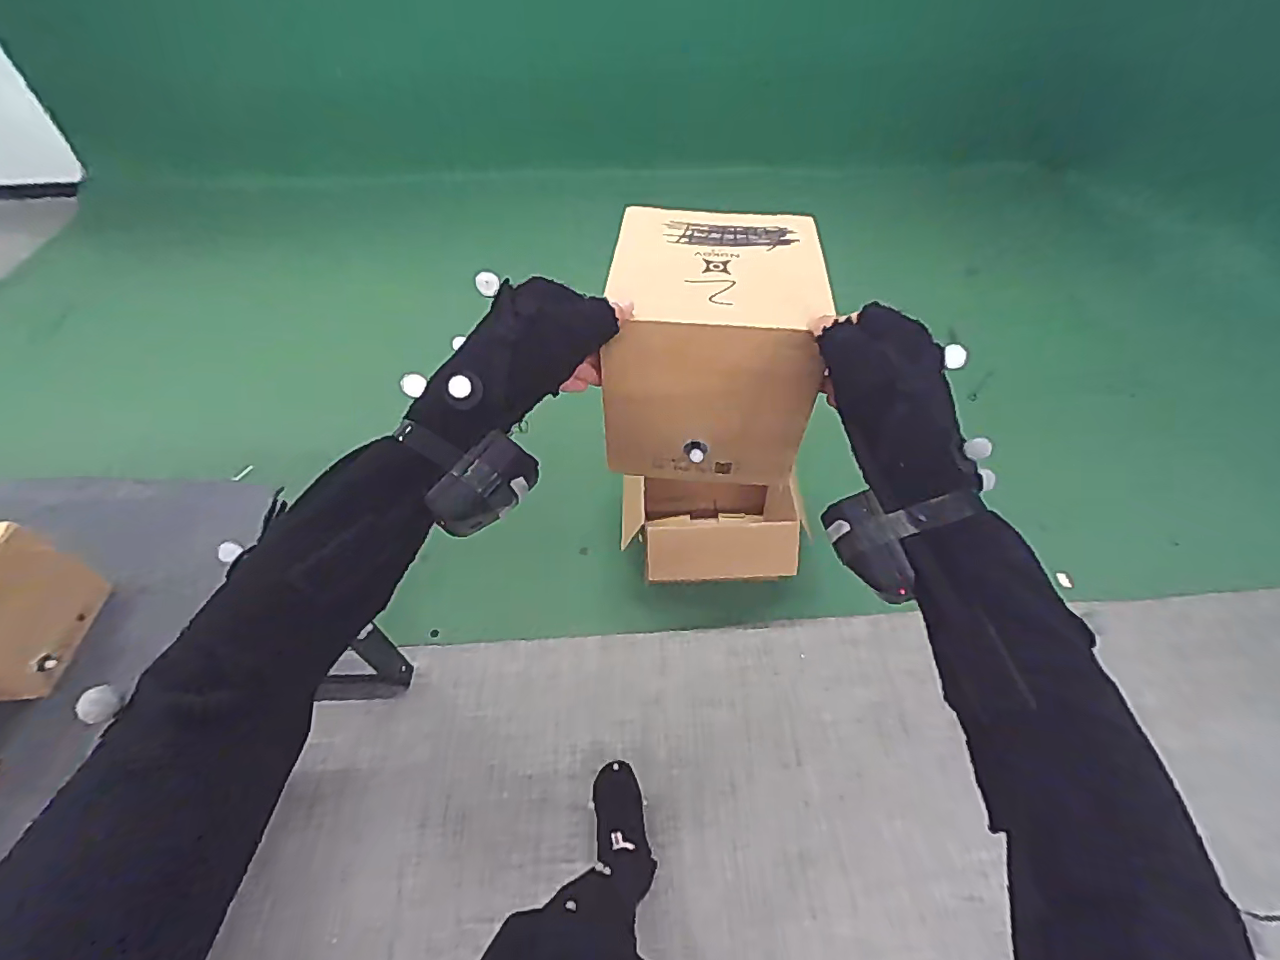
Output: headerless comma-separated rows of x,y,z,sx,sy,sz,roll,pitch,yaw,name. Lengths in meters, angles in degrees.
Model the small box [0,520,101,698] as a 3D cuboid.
-0.859,0.169,0.678,0.179,0.176,0.168,-4,50,-2,small box
